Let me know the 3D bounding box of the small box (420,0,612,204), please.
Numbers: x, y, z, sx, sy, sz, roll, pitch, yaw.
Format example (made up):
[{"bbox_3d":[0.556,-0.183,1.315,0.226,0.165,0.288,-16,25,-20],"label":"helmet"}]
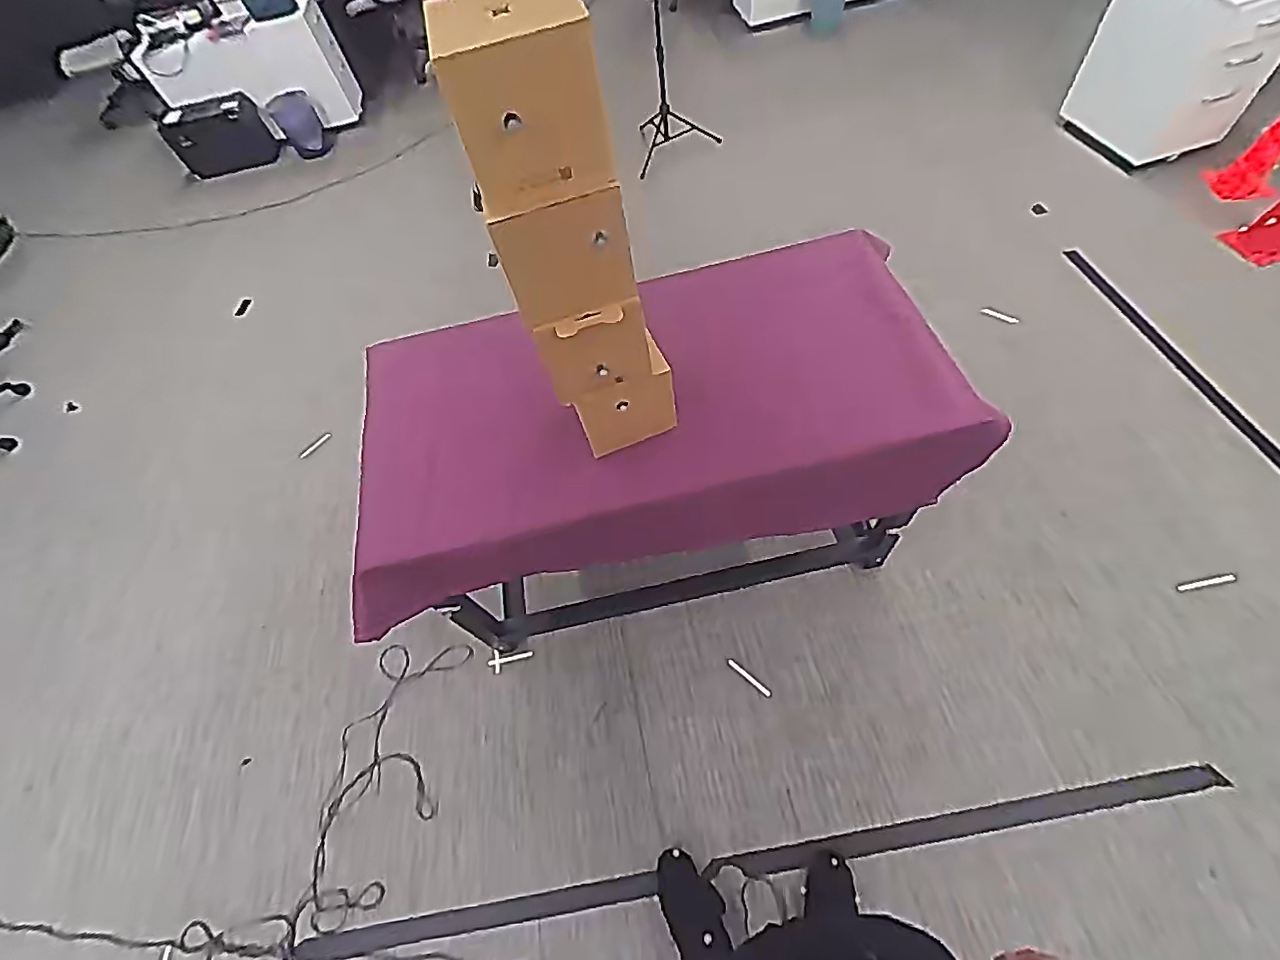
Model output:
[{"bbox_3d":[-0.140,-0.455,0.640,0.168,0.176,0.179,-17,57,-1],"label":"small box"}]

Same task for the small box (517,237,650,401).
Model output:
[{"bbox_3d":[-0.090,-0.264,0.901,0.168,0.176,0.179,-18,58,-1],"label":"small box"}]

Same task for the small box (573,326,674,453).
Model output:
[{"bbox_3d":[-0.045,-0.178,1.037,0.179,0.176,0.168,-22,58,-5],"label":"small box"}]
